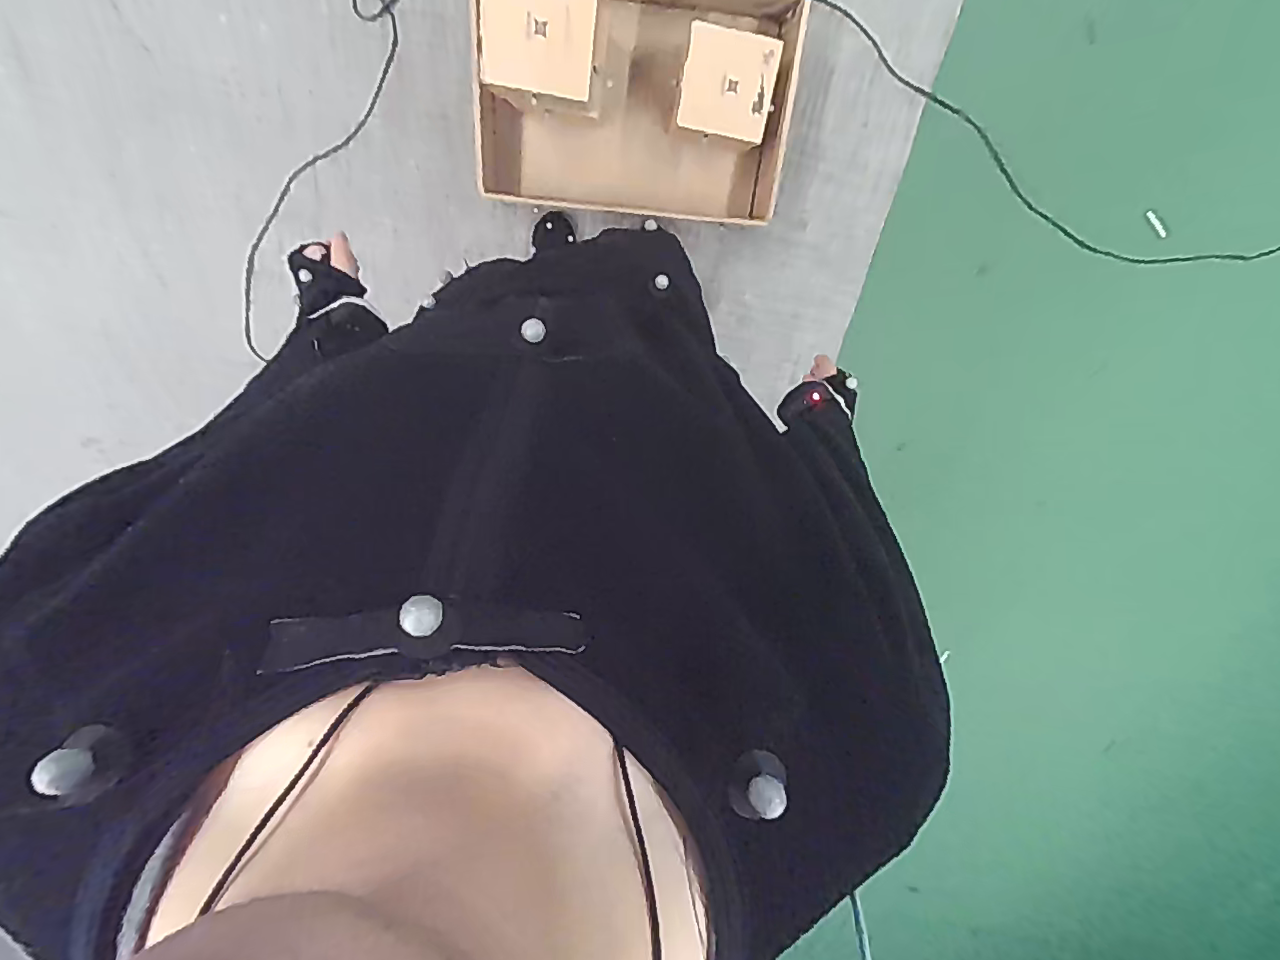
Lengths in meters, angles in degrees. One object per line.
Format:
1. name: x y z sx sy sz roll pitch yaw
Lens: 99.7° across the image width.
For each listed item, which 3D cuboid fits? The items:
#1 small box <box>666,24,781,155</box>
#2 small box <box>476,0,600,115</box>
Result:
1. small box: 0.156 -0.768 1.084 0.179 0.176 0.168 8 115 -7
2. small box: -0.165 -0.727 0.900 0.179 0.176 0.168 7 117 -8
